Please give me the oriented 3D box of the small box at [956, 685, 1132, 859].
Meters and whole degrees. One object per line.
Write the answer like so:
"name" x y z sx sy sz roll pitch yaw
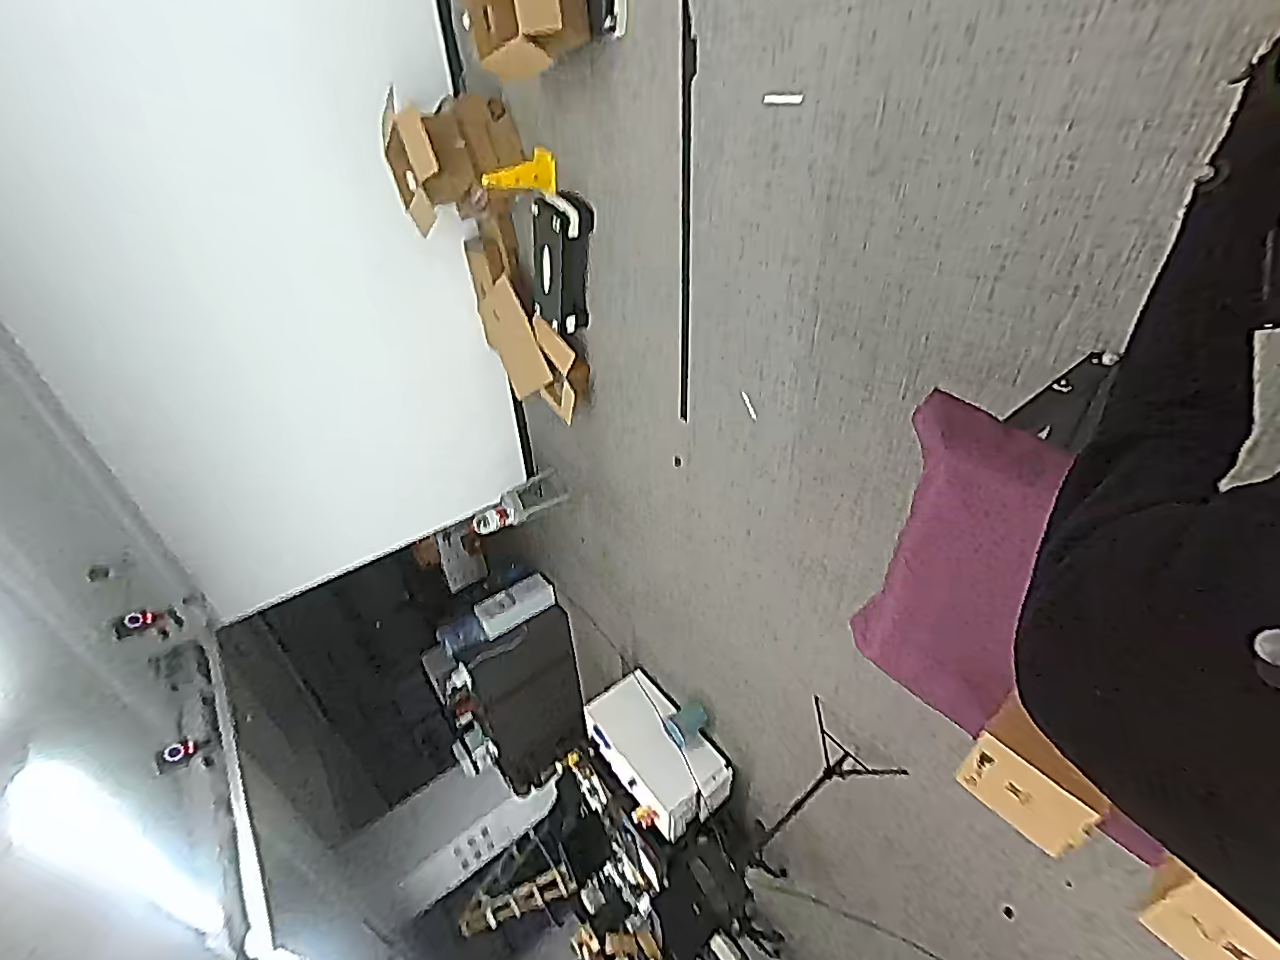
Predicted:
"small box" 0.707 0.503 0.951 0.179 0.176 0.168 35 138 39
